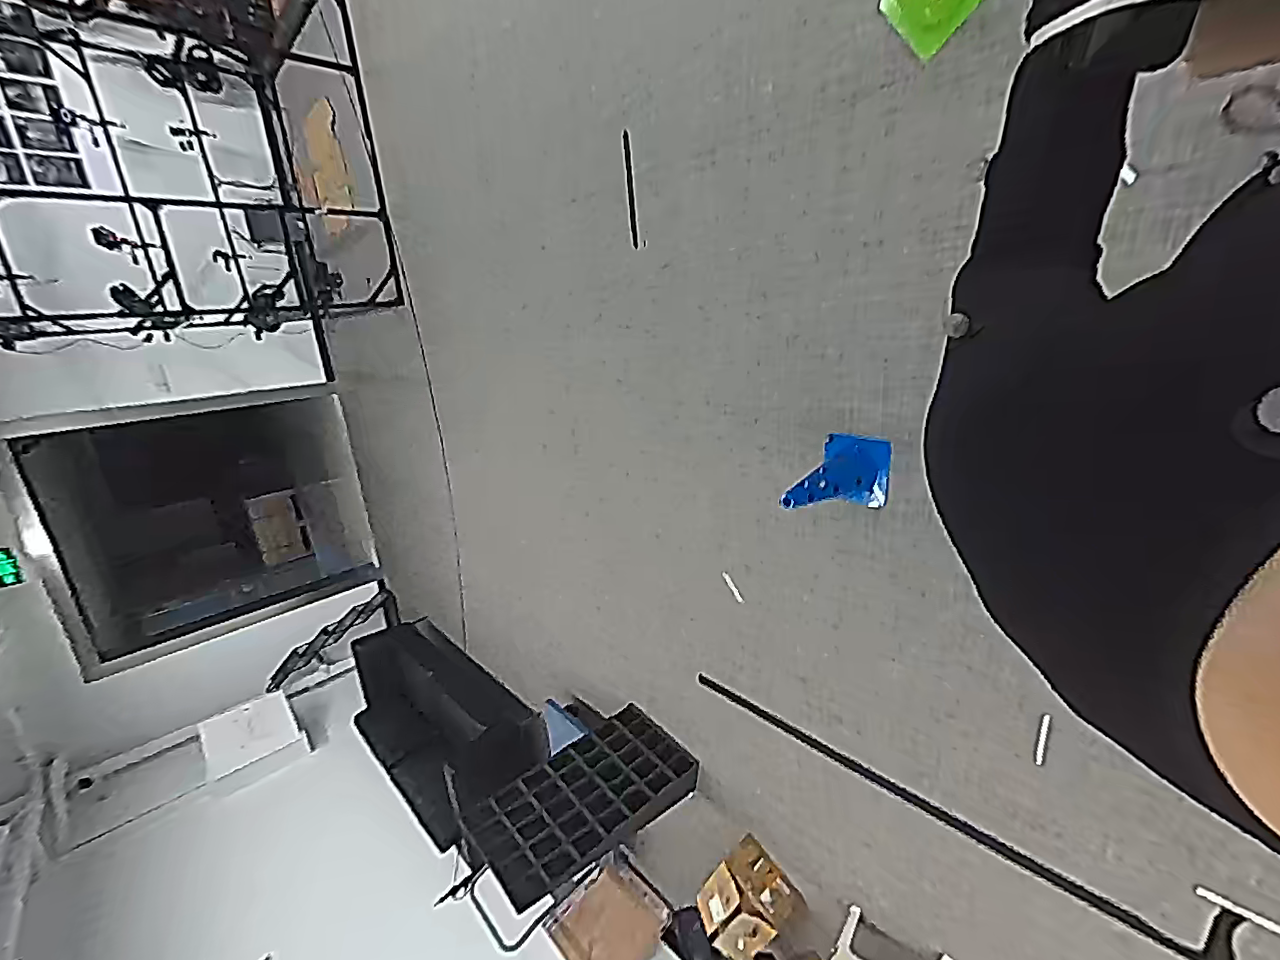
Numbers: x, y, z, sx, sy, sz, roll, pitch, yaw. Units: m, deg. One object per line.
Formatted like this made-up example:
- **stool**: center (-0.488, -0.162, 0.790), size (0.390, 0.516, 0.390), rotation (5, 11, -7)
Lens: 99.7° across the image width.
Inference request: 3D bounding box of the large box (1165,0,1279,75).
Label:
- **large box**: center (0.546, -0.456, 0.243), size (0.408, 0.320, 0.320), rotation (14, 119, 45)

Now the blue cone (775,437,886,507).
- **blue cone**: center (0.511, 0.011, 1.507), size (0.192, 0.380, 0.193), rotation (19, 118, 46)

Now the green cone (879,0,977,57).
- **green cone**: center (0.515, -1.029, 1.061), size (0.202, 0.368, 0.200), rotation (-44, 70, 50)
